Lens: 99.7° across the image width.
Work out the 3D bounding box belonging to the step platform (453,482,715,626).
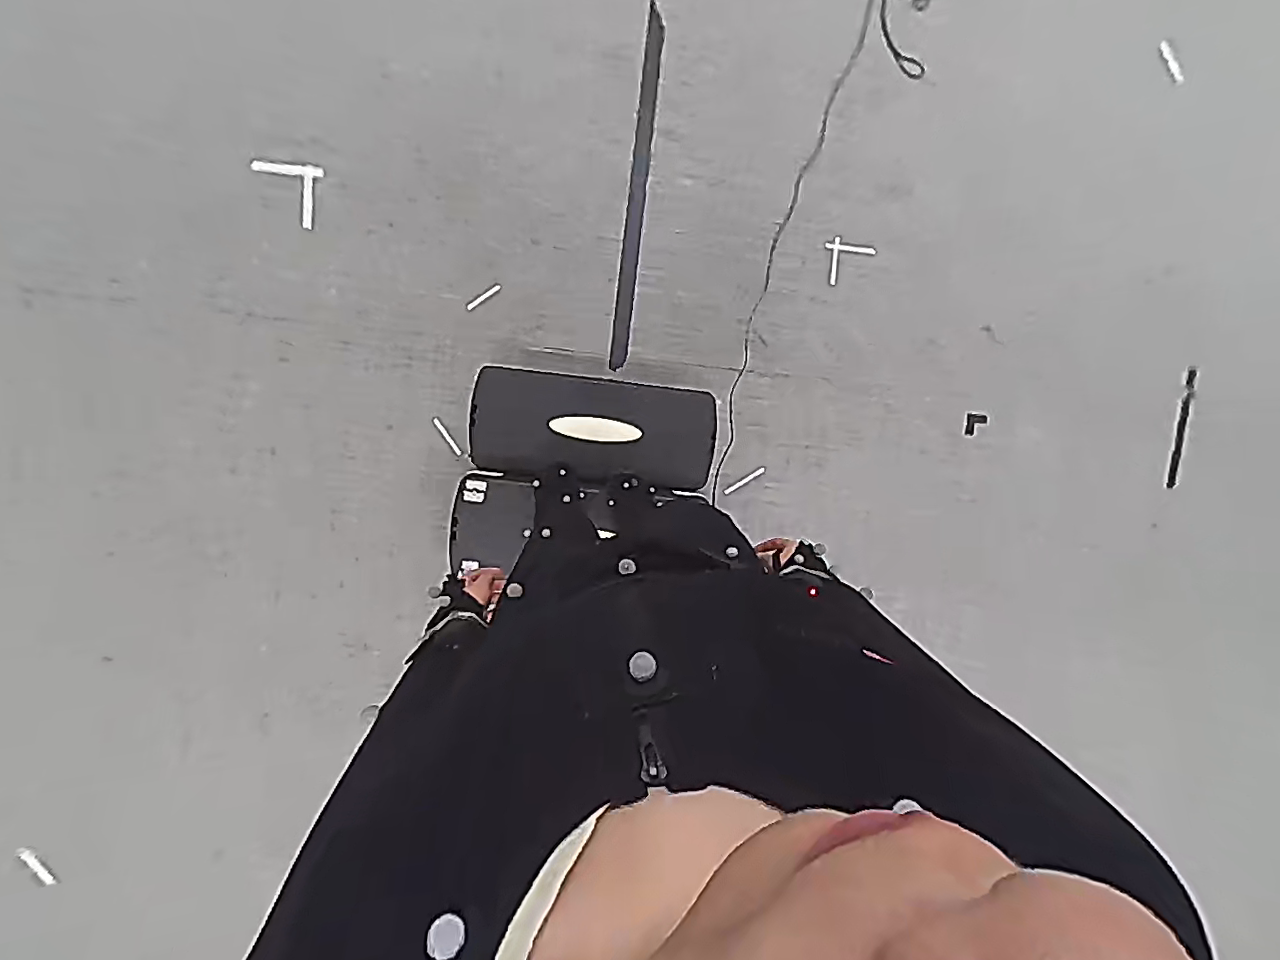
[{"bbox_3d":[-0.142,0.197,1.462,0.684,0.204,0.286,10,90,-5],"label":"step platform"}]
